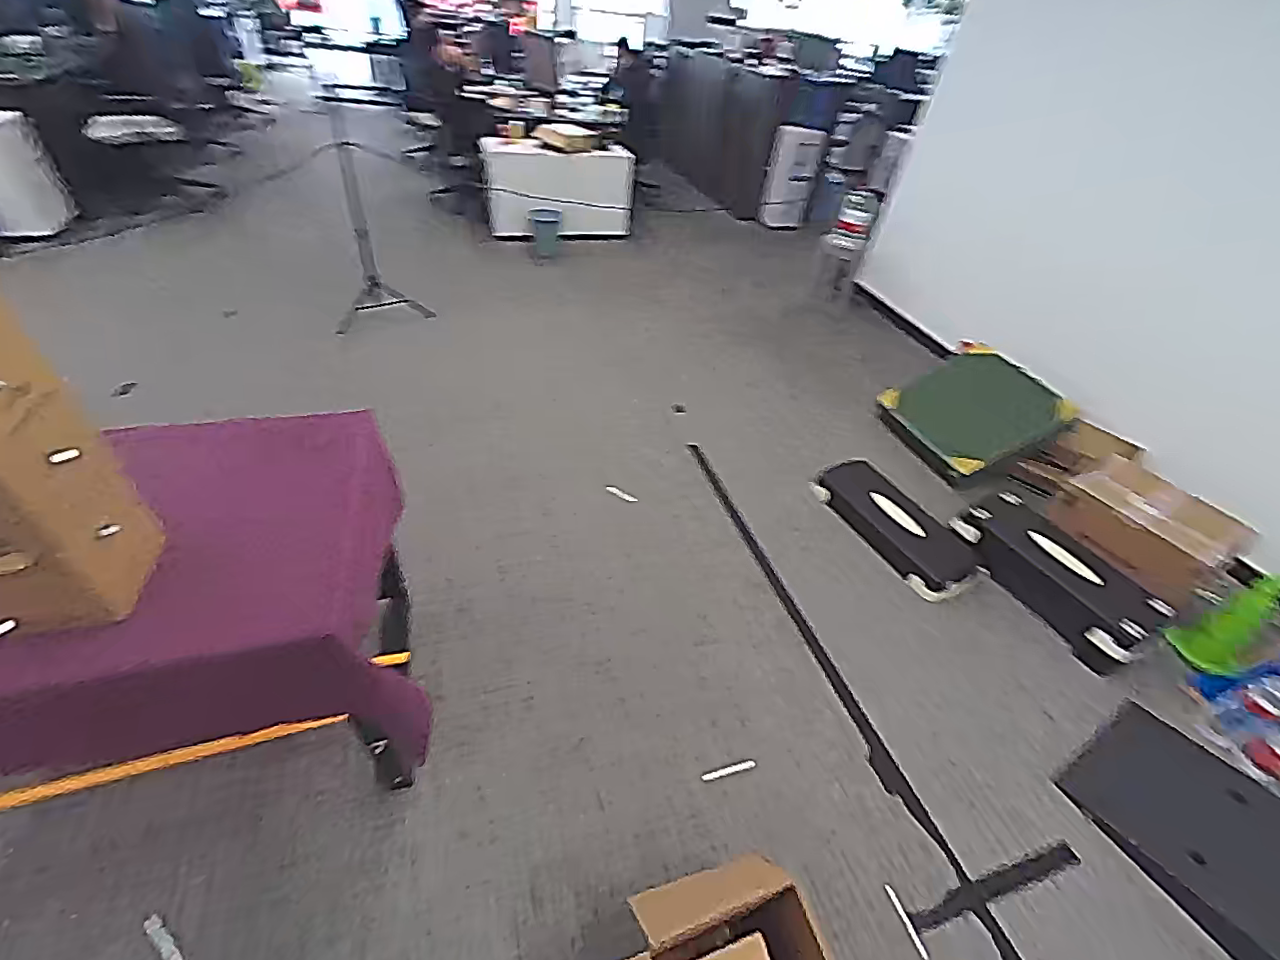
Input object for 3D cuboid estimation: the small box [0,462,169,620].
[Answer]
[{"bbox_3d":[-0.871,0.097,0.821,0.168,0.176,0.179,-5,43,-14],"label":"small box"}]
